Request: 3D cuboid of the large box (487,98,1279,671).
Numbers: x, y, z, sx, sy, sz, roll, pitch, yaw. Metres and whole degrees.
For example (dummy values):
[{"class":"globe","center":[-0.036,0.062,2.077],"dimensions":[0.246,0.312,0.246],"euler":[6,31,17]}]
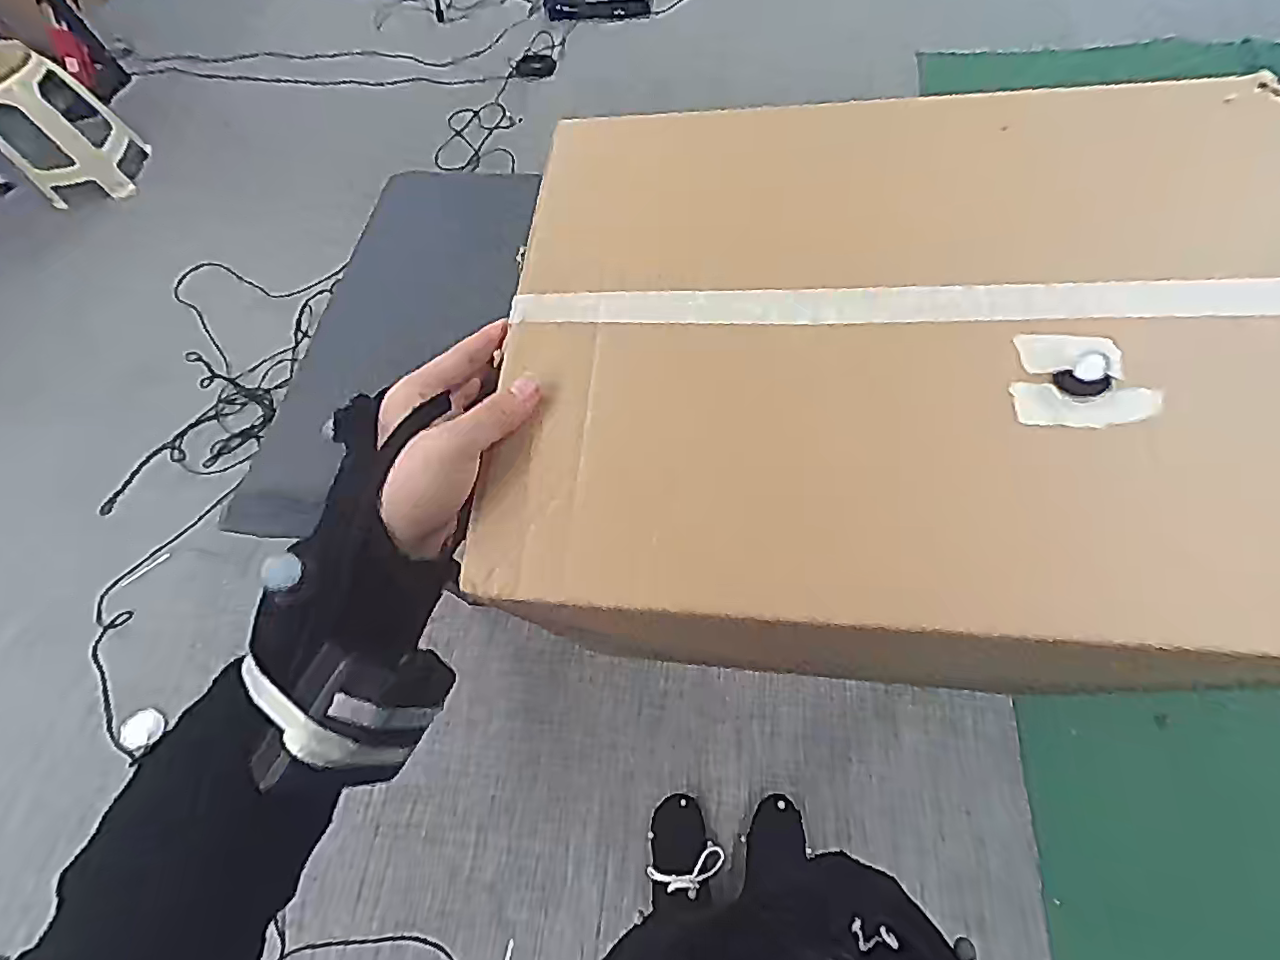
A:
[{"class":"large box","center":[0.147,-0.032,0.424],"dimensions":[0.408,0.320,0.320],"euler":[2,68,8]}]
